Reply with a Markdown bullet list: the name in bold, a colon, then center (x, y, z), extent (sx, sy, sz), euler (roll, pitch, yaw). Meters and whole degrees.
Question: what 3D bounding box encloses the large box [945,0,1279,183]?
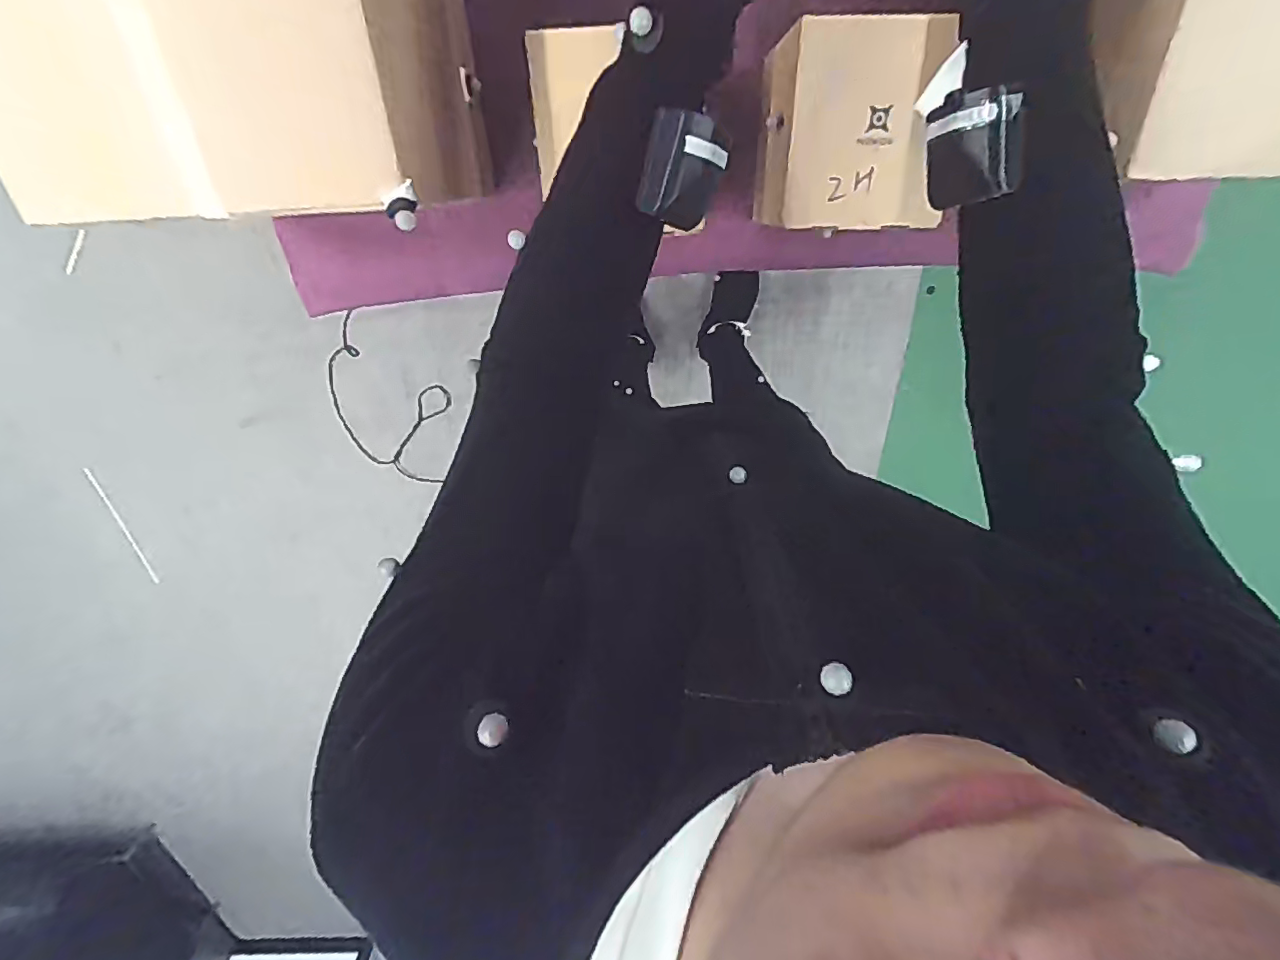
- **large box**: center (0.521, -0.488, 0.452), extent (0.320, 0.320, 0.408), euler (-1, 120, 1)
